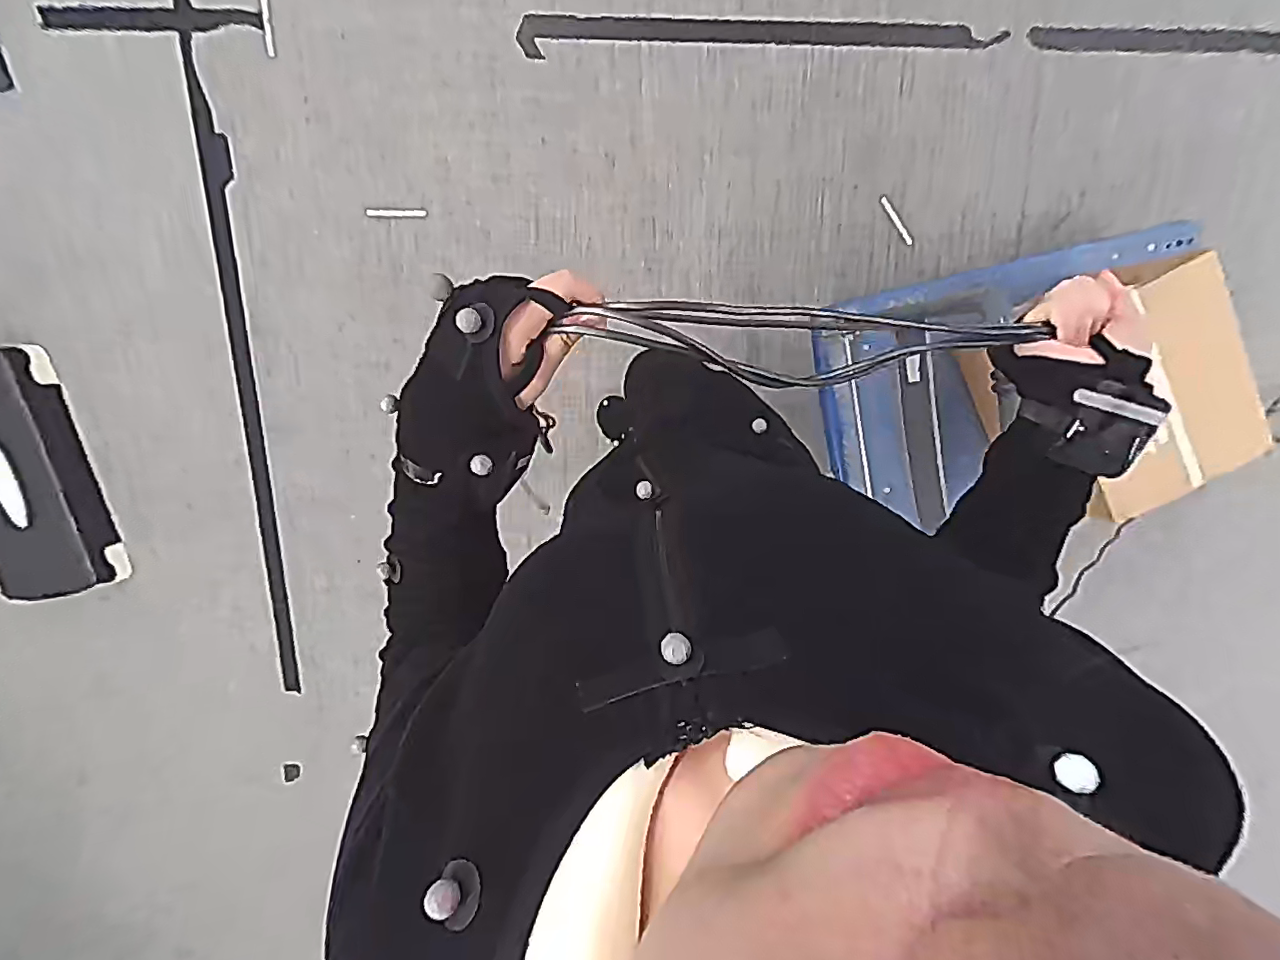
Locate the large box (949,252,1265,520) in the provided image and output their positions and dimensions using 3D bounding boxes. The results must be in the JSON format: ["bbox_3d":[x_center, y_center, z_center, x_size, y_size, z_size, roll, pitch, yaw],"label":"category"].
[{"bbox_3d":[0.941,-0.191,1.133,0.320,0.320,0.408,-28,101,6],"label":"large box"}]
